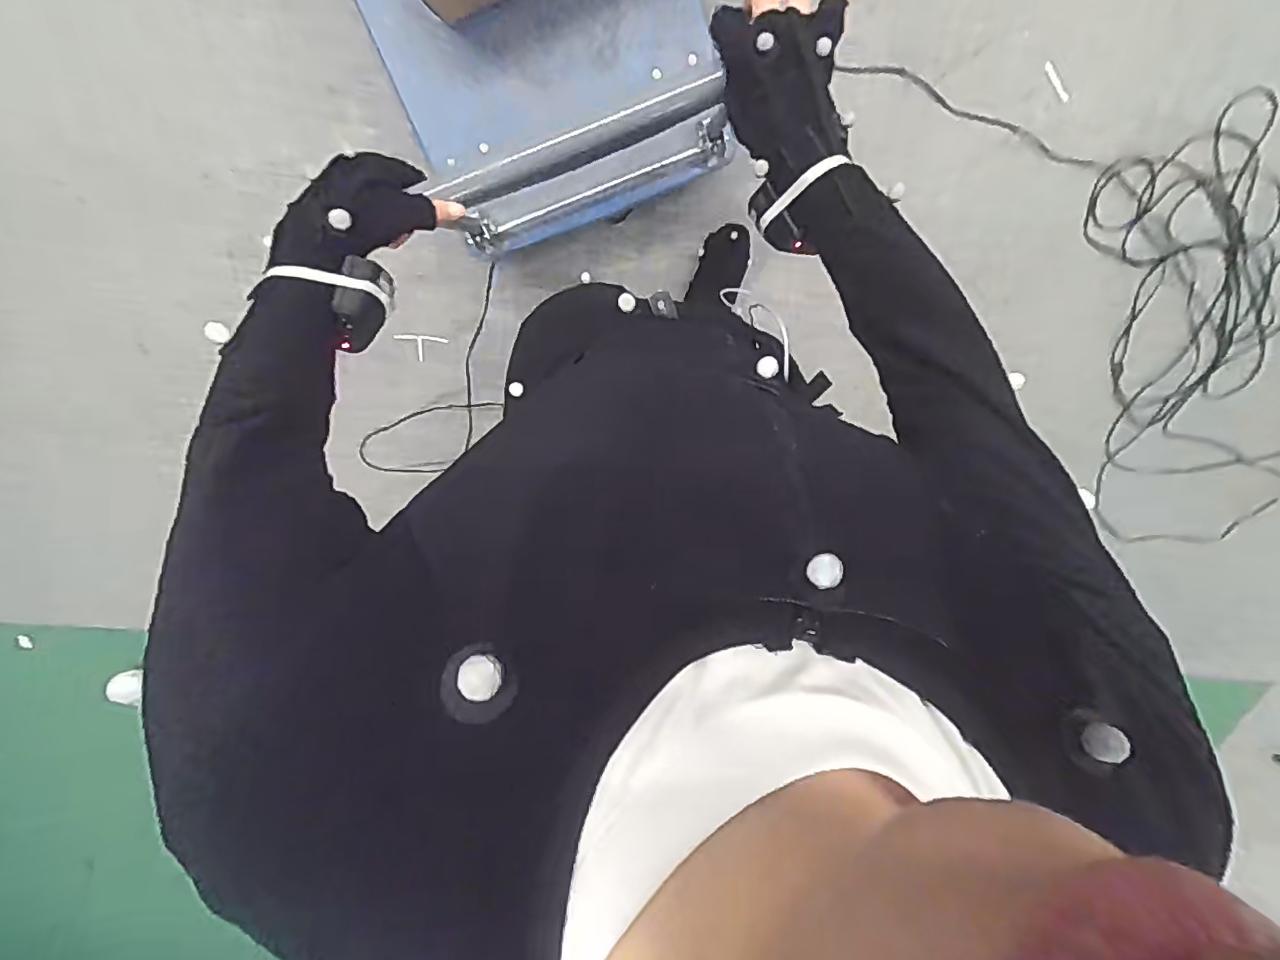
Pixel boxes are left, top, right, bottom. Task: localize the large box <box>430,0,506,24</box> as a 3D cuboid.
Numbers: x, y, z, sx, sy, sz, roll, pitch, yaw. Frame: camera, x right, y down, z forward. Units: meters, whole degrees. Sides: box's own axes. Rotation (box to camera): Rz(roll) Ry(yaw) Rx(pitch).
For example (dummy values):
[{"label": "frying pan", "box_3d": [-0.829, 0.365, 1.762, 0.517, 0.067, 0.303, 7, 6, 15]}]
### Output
[{"label": "large box", "box_3d": [-0.200, -0.934, 0.742, 0.408, 0.320, 0.320, -20, 115, 9]}]
